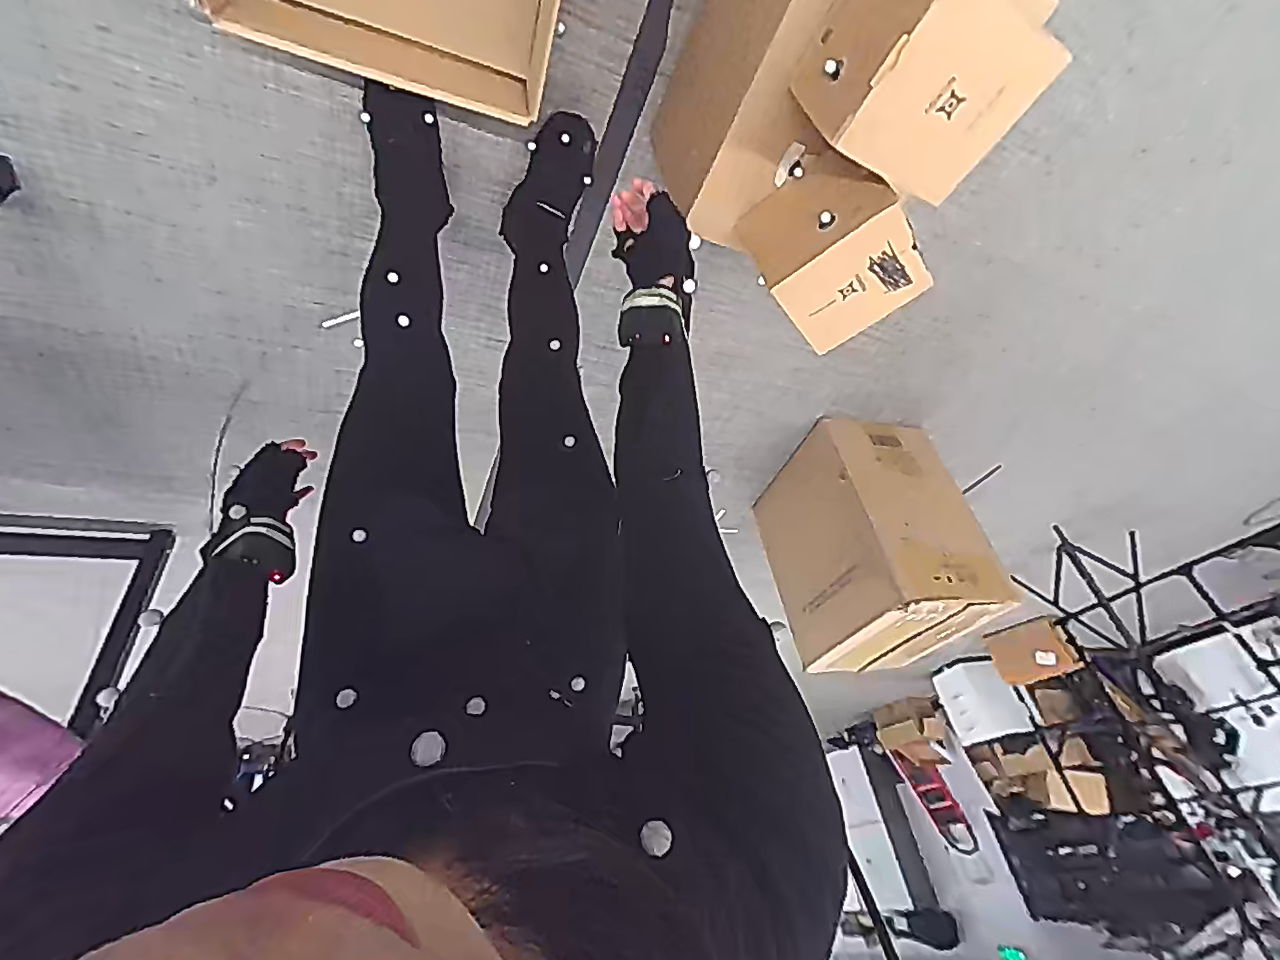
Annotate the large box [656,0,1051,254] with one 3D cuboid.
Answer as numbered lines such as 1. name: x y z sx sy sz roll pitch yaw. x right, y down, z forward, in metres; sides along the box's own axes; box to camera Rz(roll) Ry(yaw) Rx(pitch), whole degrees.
1. large box: 0.257 -0.589 0.803 0.320 0.320 0.408 8 142 -22

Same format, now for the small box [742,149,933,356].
1. small box: 0.270 -0.318 0.759 0.179 0.176 0.168 -30 140 26

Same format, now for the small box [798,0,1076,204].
1. small box: 0.303 -0.448 0.589 0.179 0.176 0.168 9 143 -25
